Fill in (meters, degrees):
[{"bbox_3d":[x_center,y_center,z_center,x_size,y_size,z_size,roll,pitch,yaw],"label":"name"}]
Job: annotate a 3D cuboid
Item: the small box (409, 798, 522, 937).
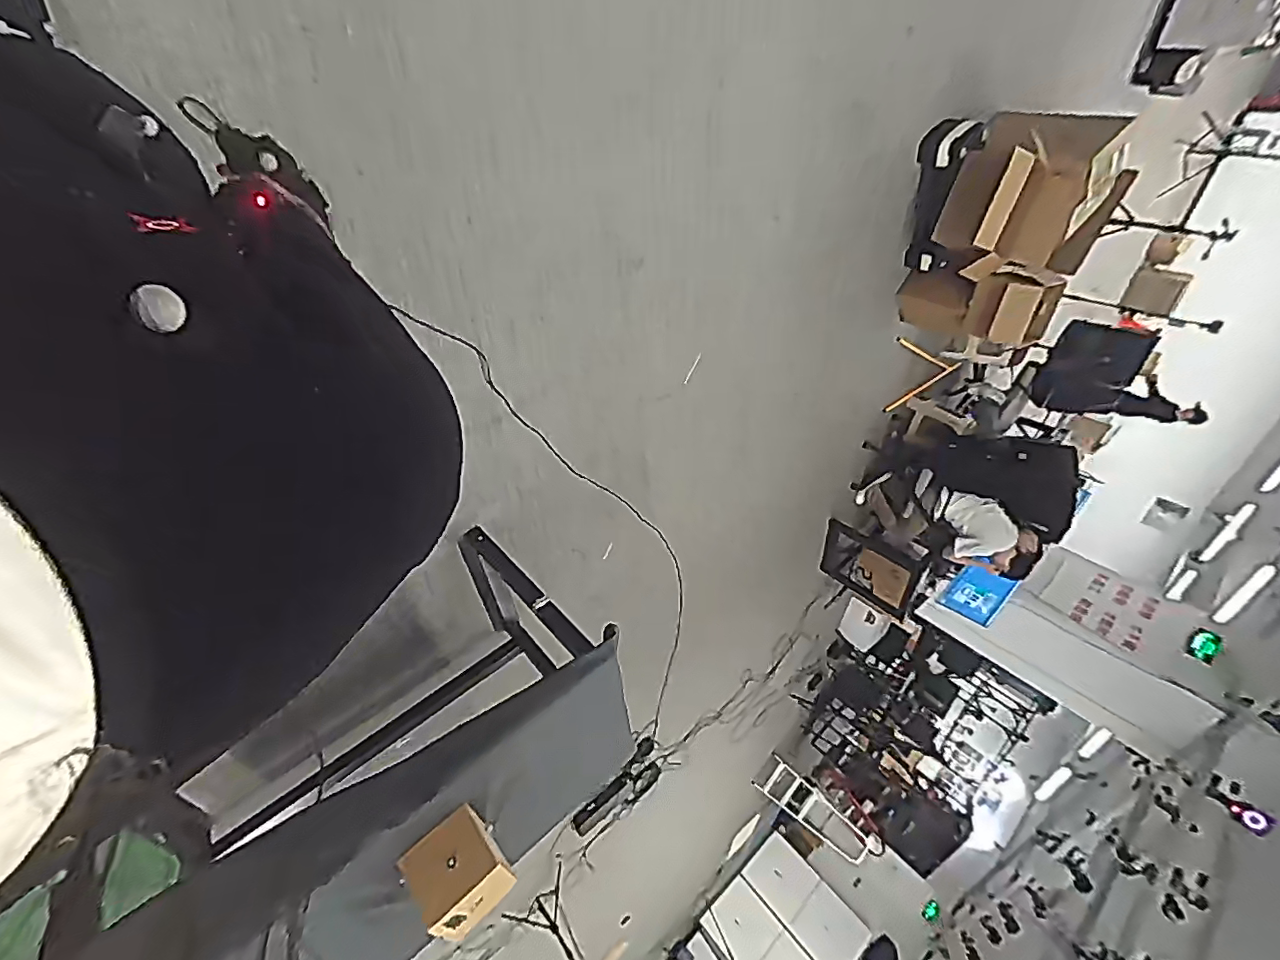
[{"bbox_3d":[-0.405,0.885,1.243,0.179,0.176,0.168,-35,138,-27],"label":"small box"}]
